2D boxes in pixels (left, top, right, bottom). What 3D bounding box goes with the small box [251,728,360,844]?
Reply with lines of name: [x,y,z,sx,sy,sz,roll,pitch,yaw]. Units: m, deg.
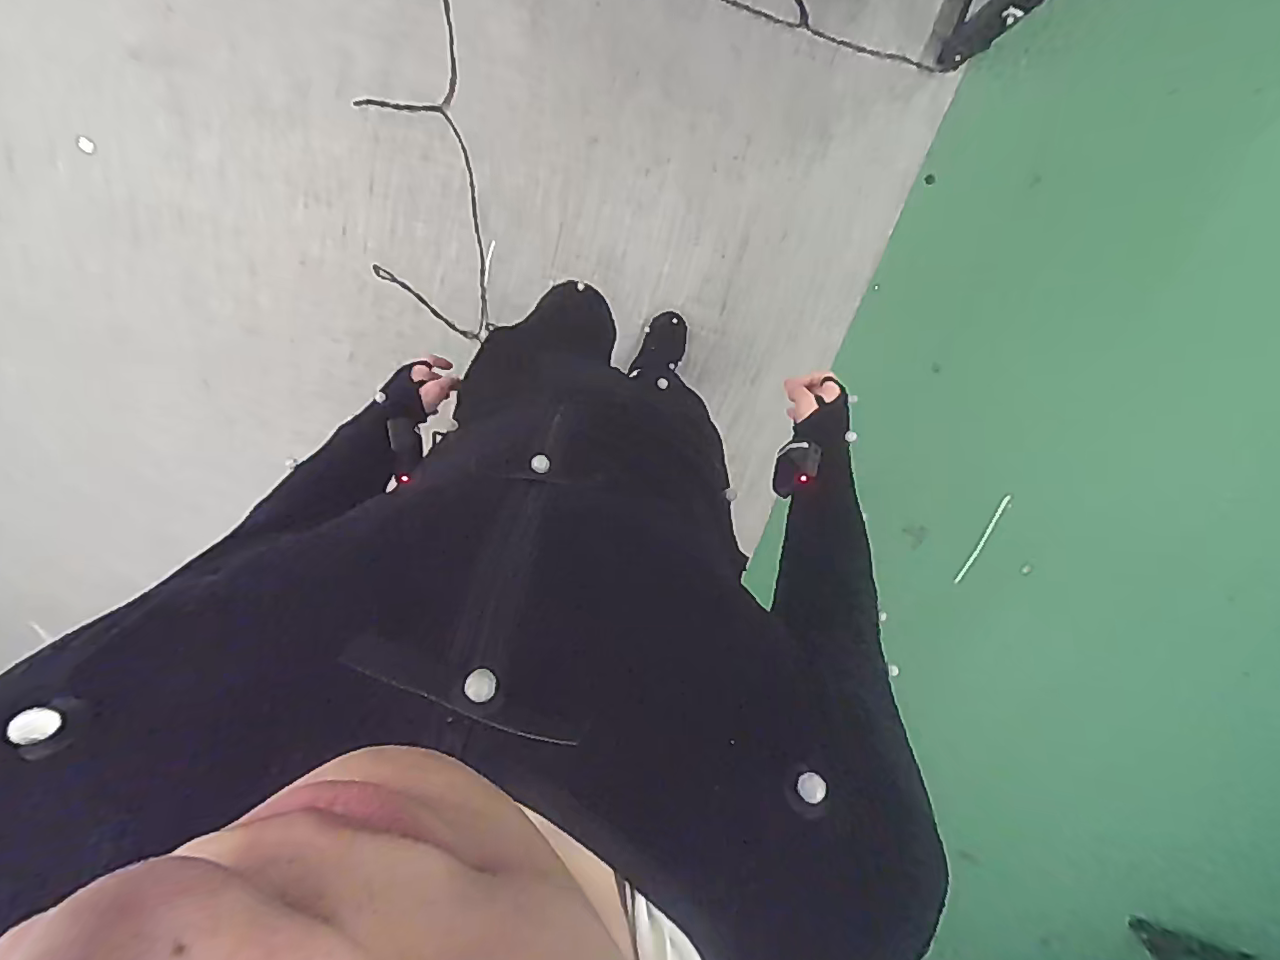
small box: [-0.875,0.803,1.429,0.168,0.176,0.179,24,107,-5]
